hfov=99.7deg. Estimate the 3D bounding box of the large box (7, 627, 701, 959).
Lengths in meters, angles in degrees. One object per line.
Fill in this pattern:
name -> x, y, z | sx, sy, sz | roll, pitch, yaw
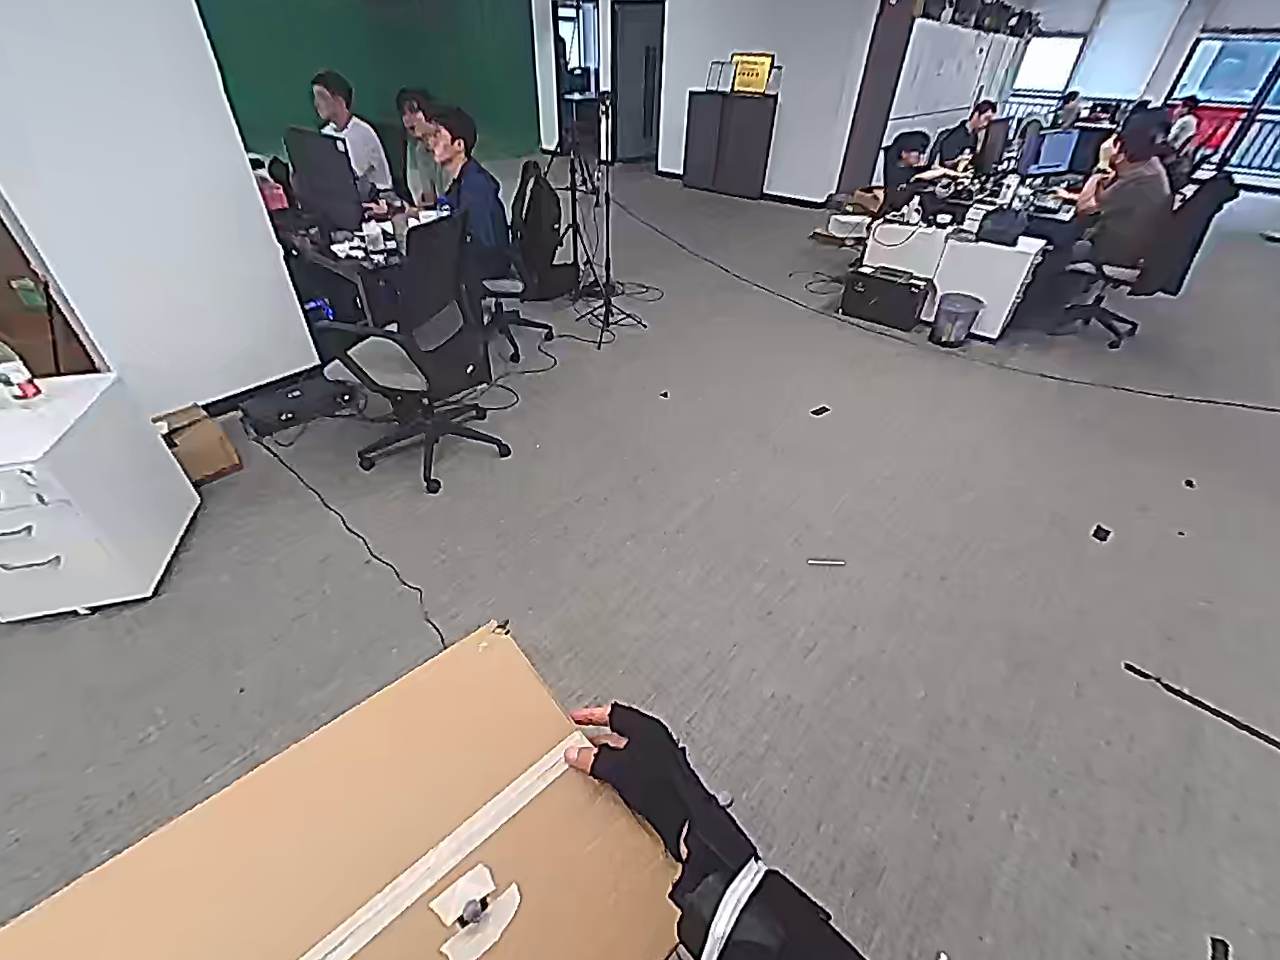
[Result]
large box -> -0.208, 0.430, 0.507 | 0.408, 0.320, 0.320 | -29, 56, -31
